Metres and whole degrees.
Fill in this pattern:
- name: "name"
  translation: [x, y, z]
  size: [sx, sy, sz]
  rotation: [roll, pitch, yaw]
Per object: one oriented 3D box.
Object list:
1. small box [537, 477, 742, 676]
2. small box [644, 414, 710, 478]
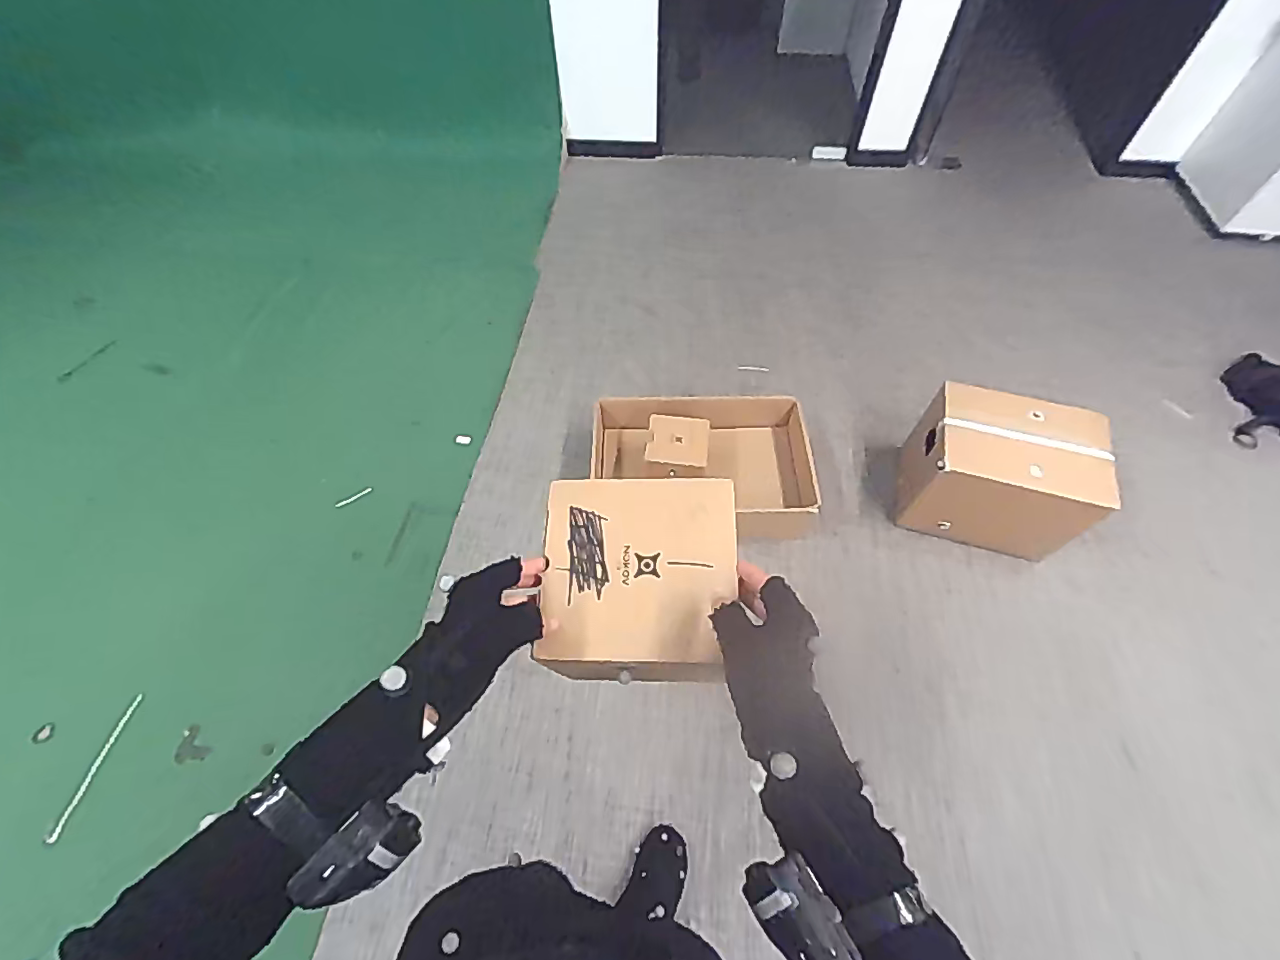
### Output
- name: "small box"
  translation: [0.008, 0.106, 0.554]
  size: [0.179, 0.176, 0.168]
  rotation: [0, 65, 5]
- name: "small box"
  translation: [0.106, -0.071, 1.593]
  size: [0.179, 0.176, 0.168]
  rotation: [6, 58, 2]
